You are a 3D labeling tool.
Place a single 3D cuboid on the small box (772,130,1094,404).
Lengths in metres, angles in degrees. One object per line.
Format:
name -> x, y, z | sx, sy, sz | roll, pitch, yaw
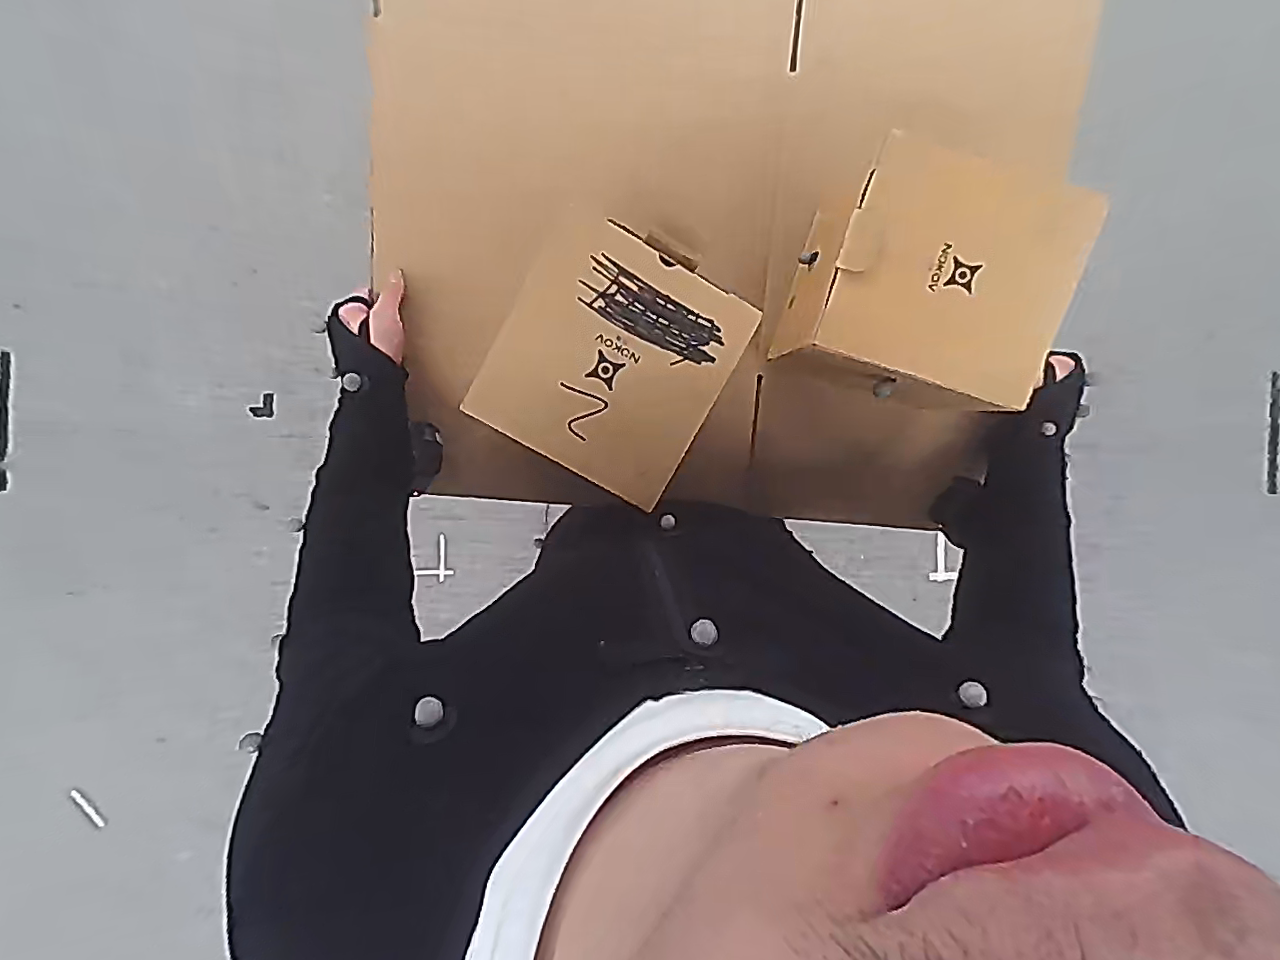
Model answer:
small box -> 0.243, -0.175, 0.500 | 0.179, 0.176, 0.168 | 18, 98, 1
